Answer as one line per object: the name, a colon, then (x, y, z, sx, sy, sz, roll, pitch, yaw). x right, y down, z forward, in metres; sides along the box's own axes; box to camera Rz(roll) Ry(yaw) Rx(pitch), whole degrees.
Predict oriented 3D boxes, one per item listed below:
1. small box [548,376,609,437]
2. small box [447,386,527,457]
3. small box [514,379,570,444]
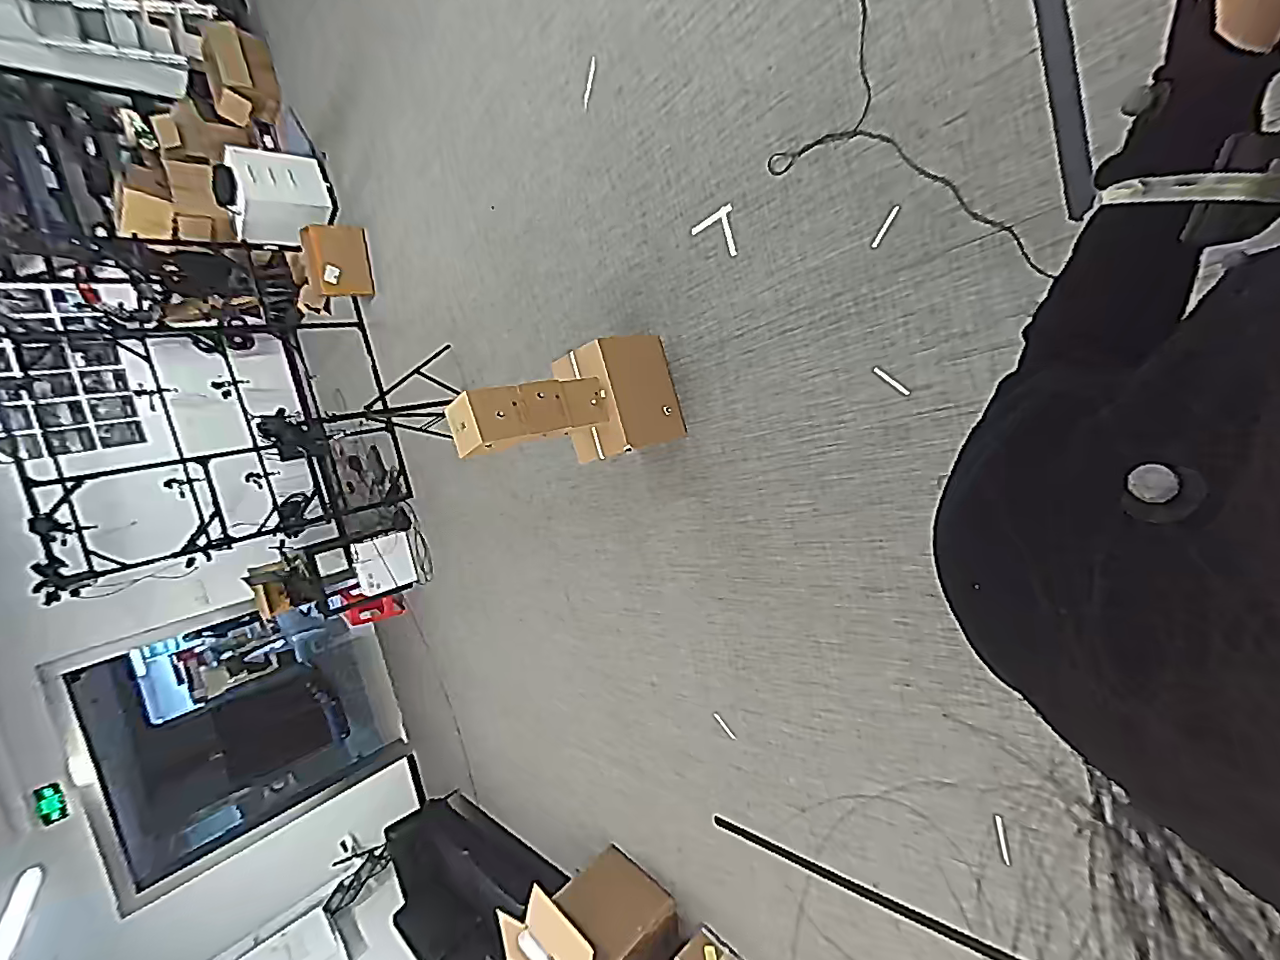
small box: (-0.237, -0.260, 1.903, 0.179, 0.176, 0.168, -14, 93, 48)
small box: (-0.470, -0.185, 1.686, 0.179, 0.176, 0.168, -22, 86, 48)
small box: (-0.351, -0.228, 1.792, 0.179, 0.176, 0.168, -16, 91, 49)
